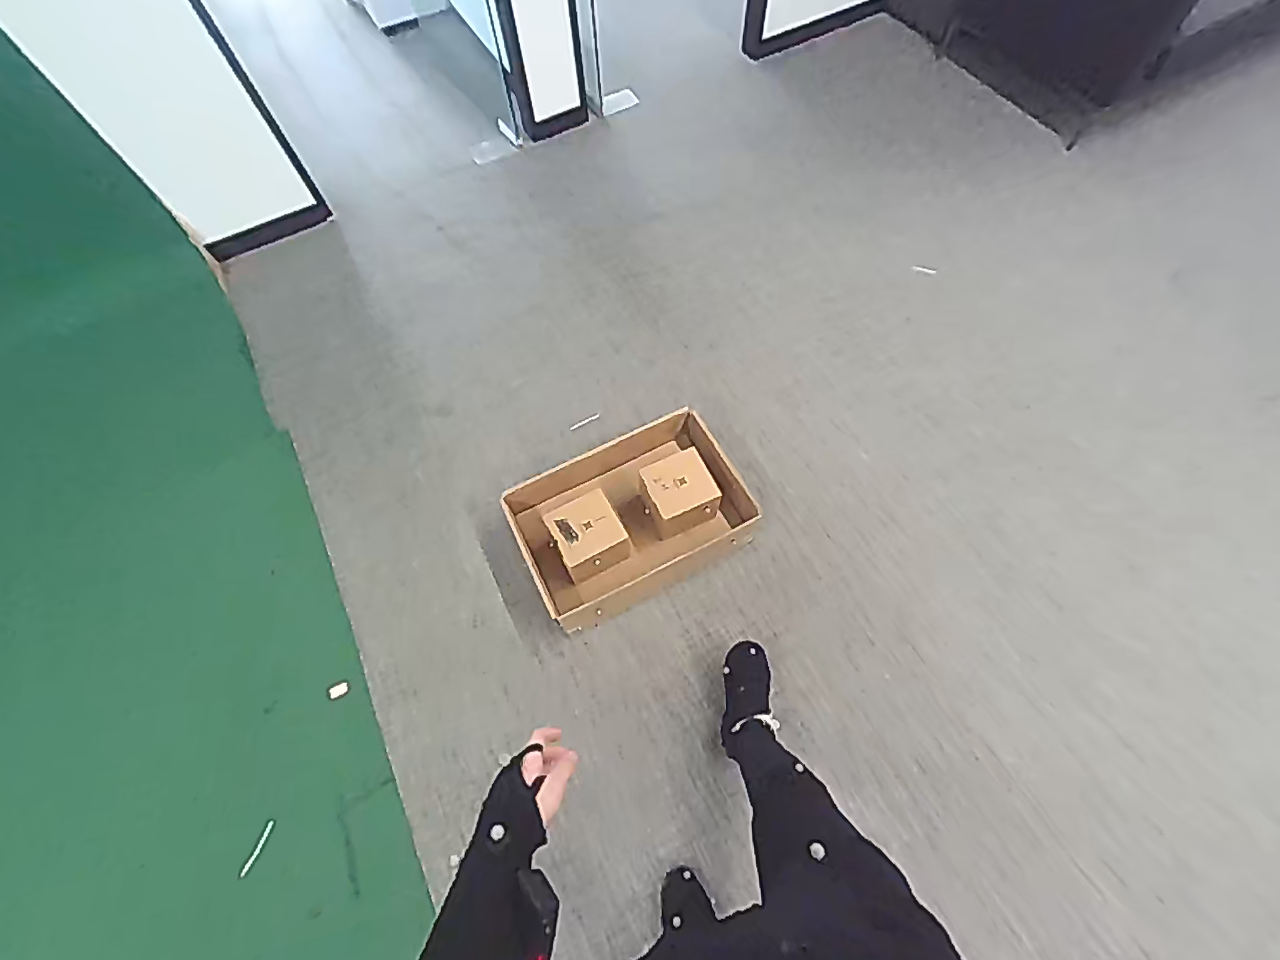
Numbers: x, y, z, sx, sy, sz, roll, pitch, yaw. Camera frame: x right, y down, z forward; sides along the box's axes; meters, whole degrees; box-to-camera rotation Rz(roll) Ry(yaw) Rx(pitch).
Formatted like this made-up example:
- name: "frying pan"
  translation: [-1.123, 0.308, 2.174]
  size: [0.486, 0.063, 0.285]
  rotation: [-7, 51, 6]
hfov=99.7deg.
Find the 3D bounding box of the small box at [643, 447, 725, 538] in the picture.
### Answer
- name: "small box"
  translation: [0.119, 0.039, 1.527]
  size: [0.179, 0.176, 0.168]
  rotation: [-23, 66, -7]
